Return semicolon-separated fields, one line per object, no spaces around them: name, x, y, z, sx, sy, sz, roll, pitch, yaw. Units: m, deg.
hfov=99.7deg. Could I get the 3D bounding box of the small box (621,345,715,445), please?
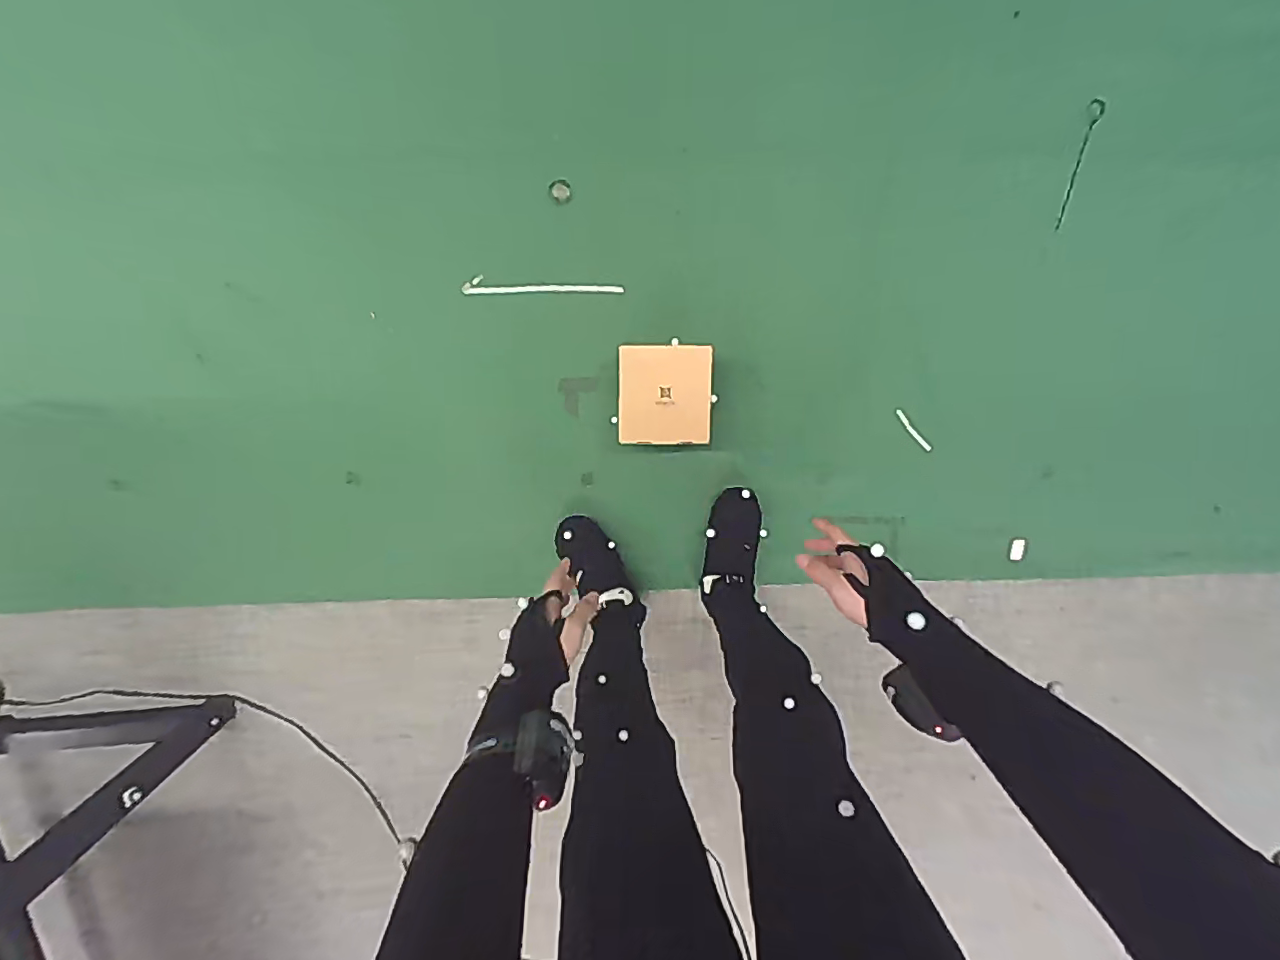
small box;0.047;-0.166;1.039;0.168;0.176;0.179;0;103;-1
